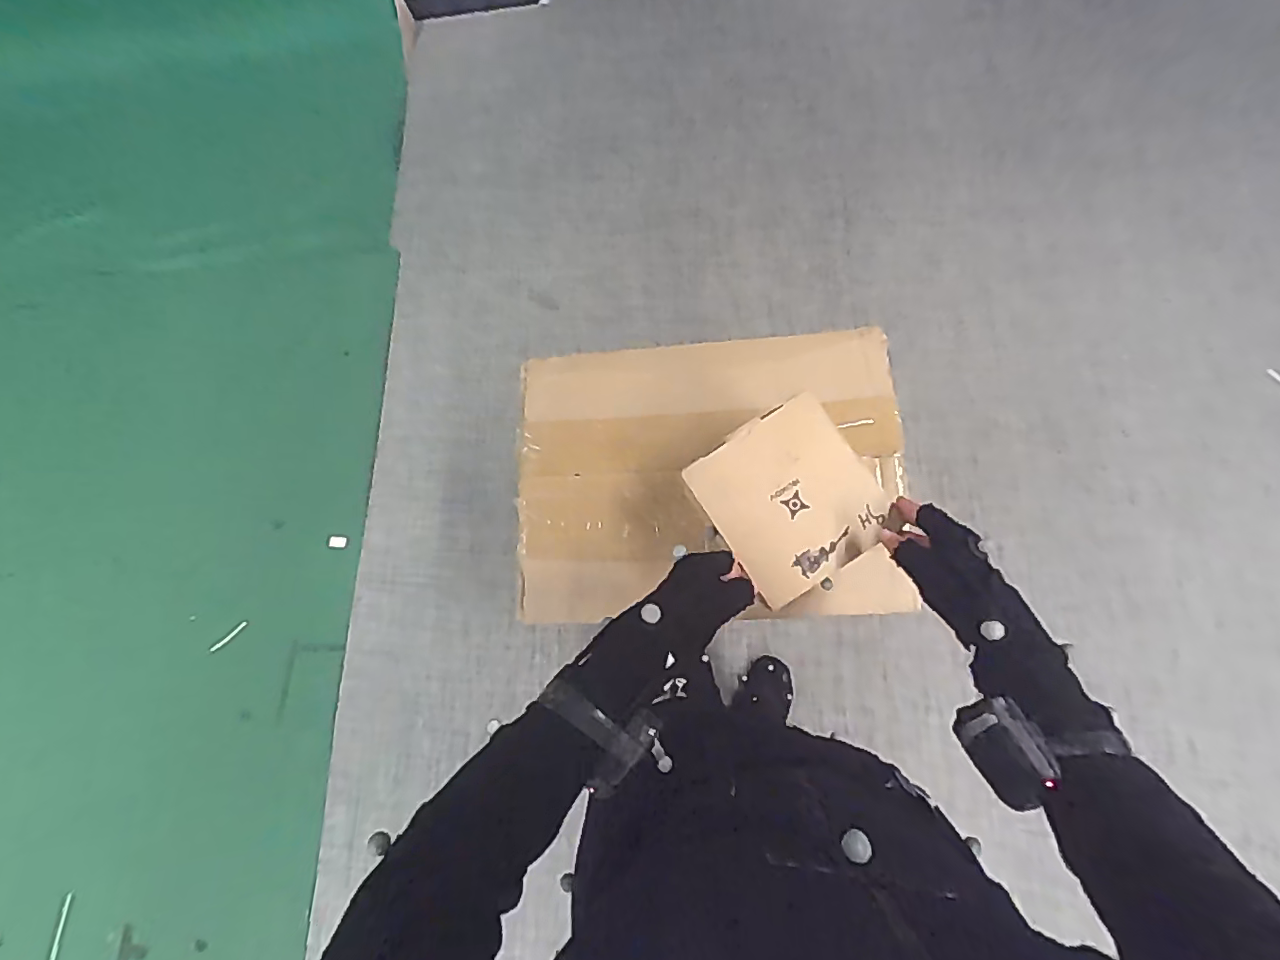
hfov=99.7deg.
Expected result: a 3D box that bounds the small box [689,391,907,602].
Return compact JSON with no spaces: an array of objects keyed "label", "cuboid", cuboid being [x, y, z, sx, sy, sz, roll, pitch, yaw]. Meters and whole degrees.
[{"label":"small box","cuboid":[0.170,0.028,0.646,0.168,0.176,0.179,-31,80,0]}]
